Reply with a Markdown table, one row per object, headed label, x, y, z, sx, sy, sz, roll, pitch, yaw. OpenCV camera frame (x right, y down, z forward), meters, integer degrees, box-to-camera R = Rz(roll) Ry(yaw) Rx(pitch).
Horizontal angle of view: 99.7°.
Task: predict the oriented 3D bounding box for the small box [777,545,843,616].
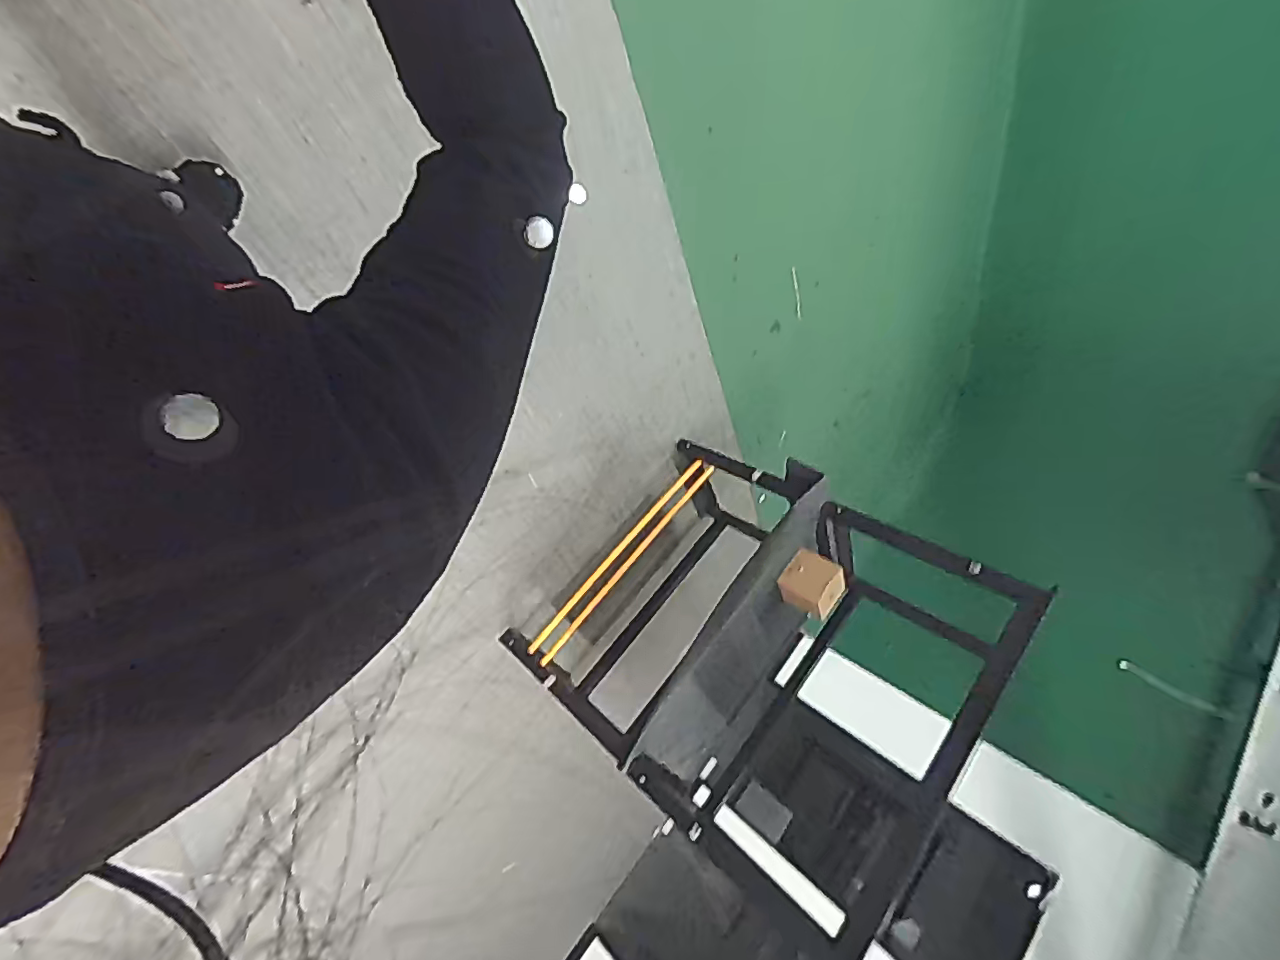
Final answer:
| label | x | y | z | sx | sy | sz | roll | pitch | yaw |
| --- | --- | --- | --- | --- | --- | --- | --- | --- | --- |
| small box | 0.633 | 0.370 | 2.012 | 0.168 | 0.176 | 0.179 | -50 | 140 | -17 |
